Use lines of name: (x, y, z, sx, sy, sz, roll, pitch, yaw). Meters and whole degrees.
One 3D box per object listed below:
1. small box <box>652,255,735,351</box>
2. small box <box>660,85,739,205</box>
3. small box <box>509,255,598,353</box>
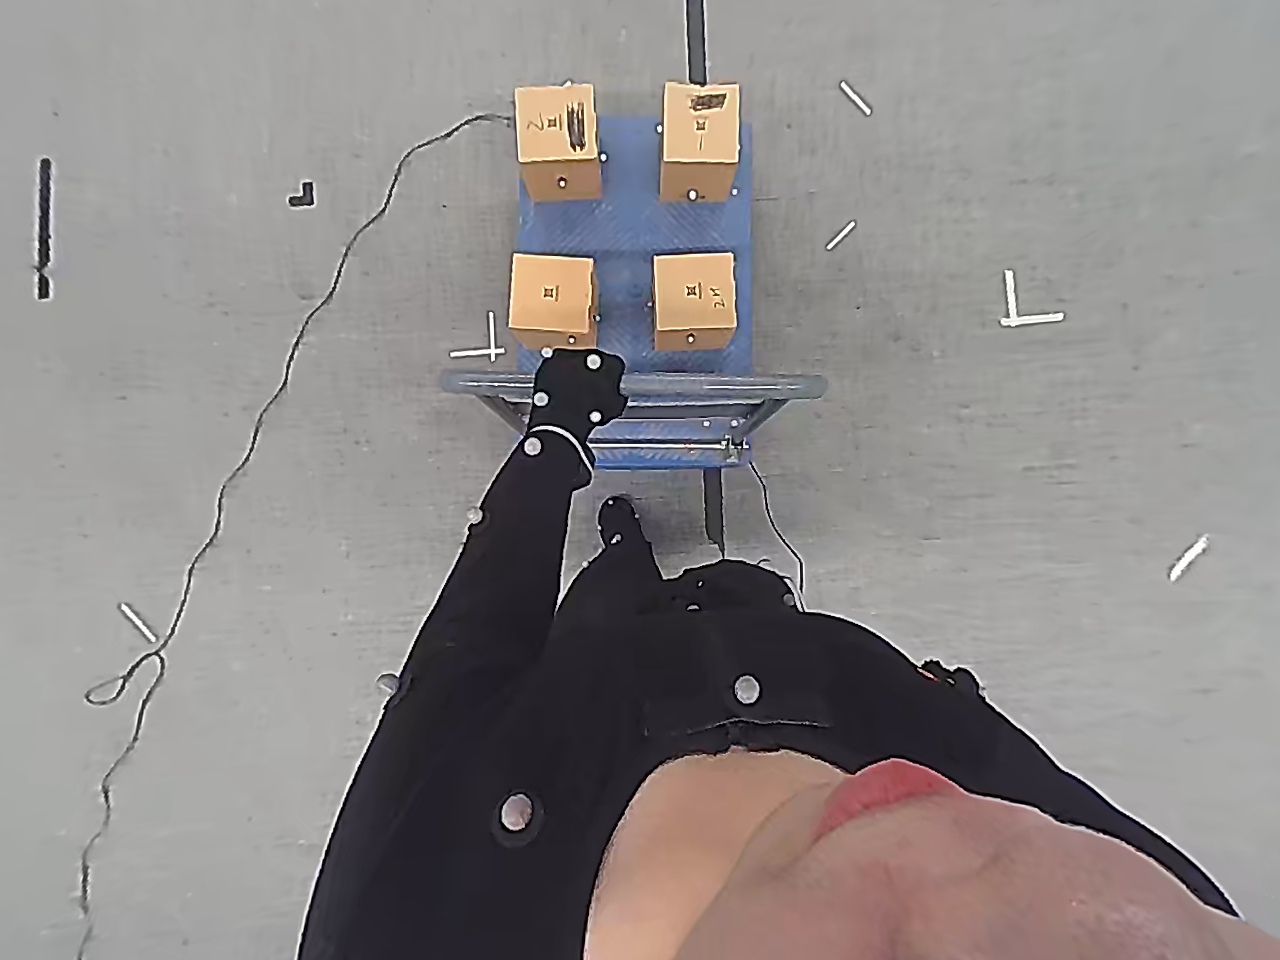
small box: (0.118, -0.401, 1.247, 0.179, 0.176, 0.168, -2, 88, 0)
small box: (0.132, -0.773, 1.259, 0.168, 0.176, 0.179, 1, 89, 0)
small box: (-0.193, -0.398, 1.246, 0.179, 0.176, 0.168, 3, 88, -1)
